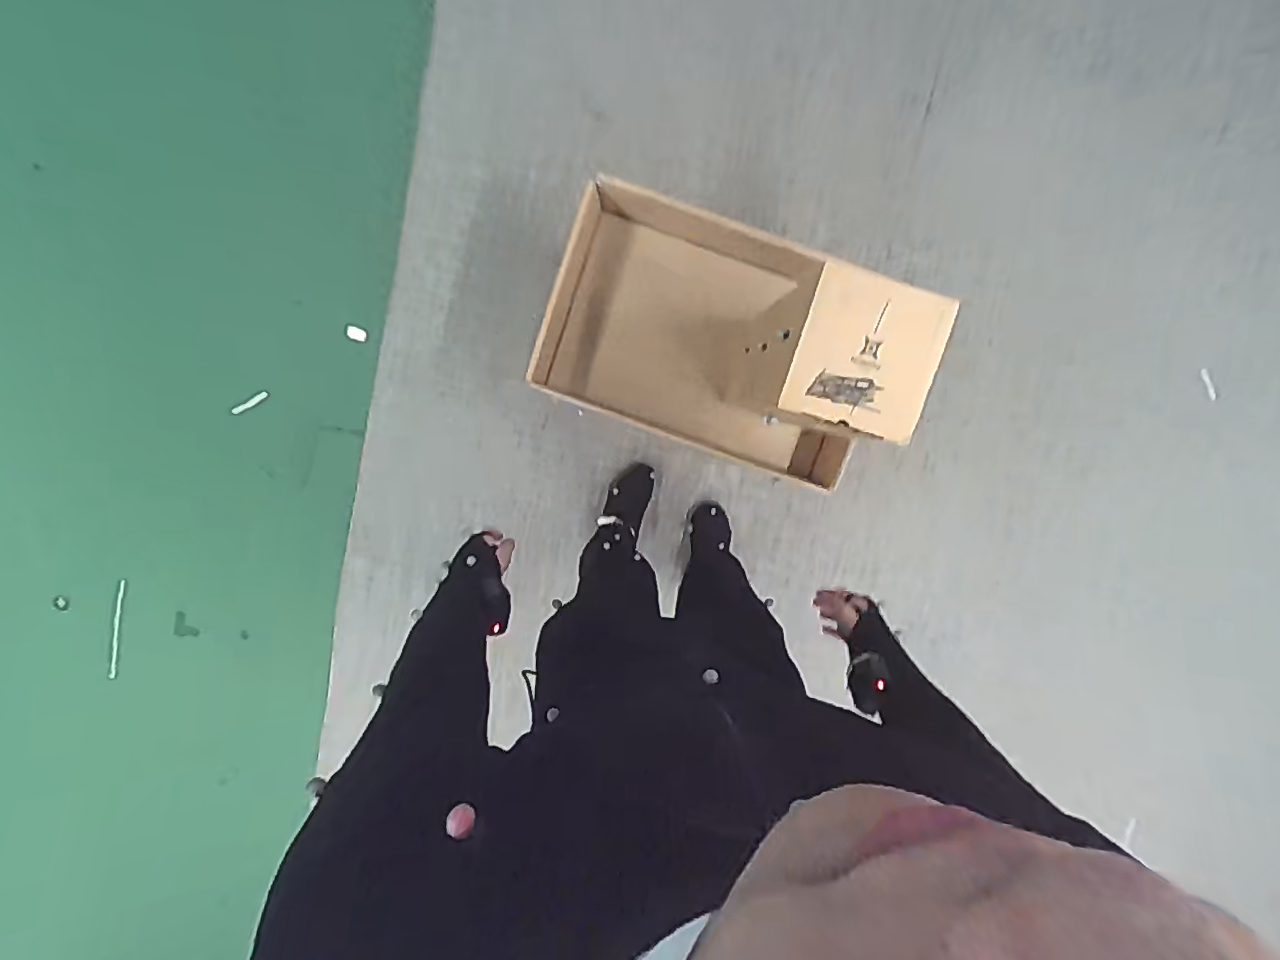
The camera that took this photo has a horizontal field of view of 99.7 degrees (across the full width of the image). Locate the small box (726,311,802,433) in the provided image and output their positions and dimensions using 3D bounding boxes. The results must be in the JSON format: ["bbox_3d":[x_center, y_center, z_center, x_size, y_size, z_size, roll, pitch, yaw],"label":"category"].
[{"bbox_3d":[0.272,-0.195,1.026,0.168,0.176,0.179,18,96,-1],"label":"small box"}]

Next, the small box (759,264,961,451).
[{"bbox_3d":[0.266,-0.148,0.703,0.168,0.176,0.179,17,96,-1],"label":"small box"}]

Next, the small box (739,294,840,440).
[{"bbox_3d":[0.269,-0.172,0.865,0.168,0.176,0.179,17,97,-1],"label":"small box"}]
